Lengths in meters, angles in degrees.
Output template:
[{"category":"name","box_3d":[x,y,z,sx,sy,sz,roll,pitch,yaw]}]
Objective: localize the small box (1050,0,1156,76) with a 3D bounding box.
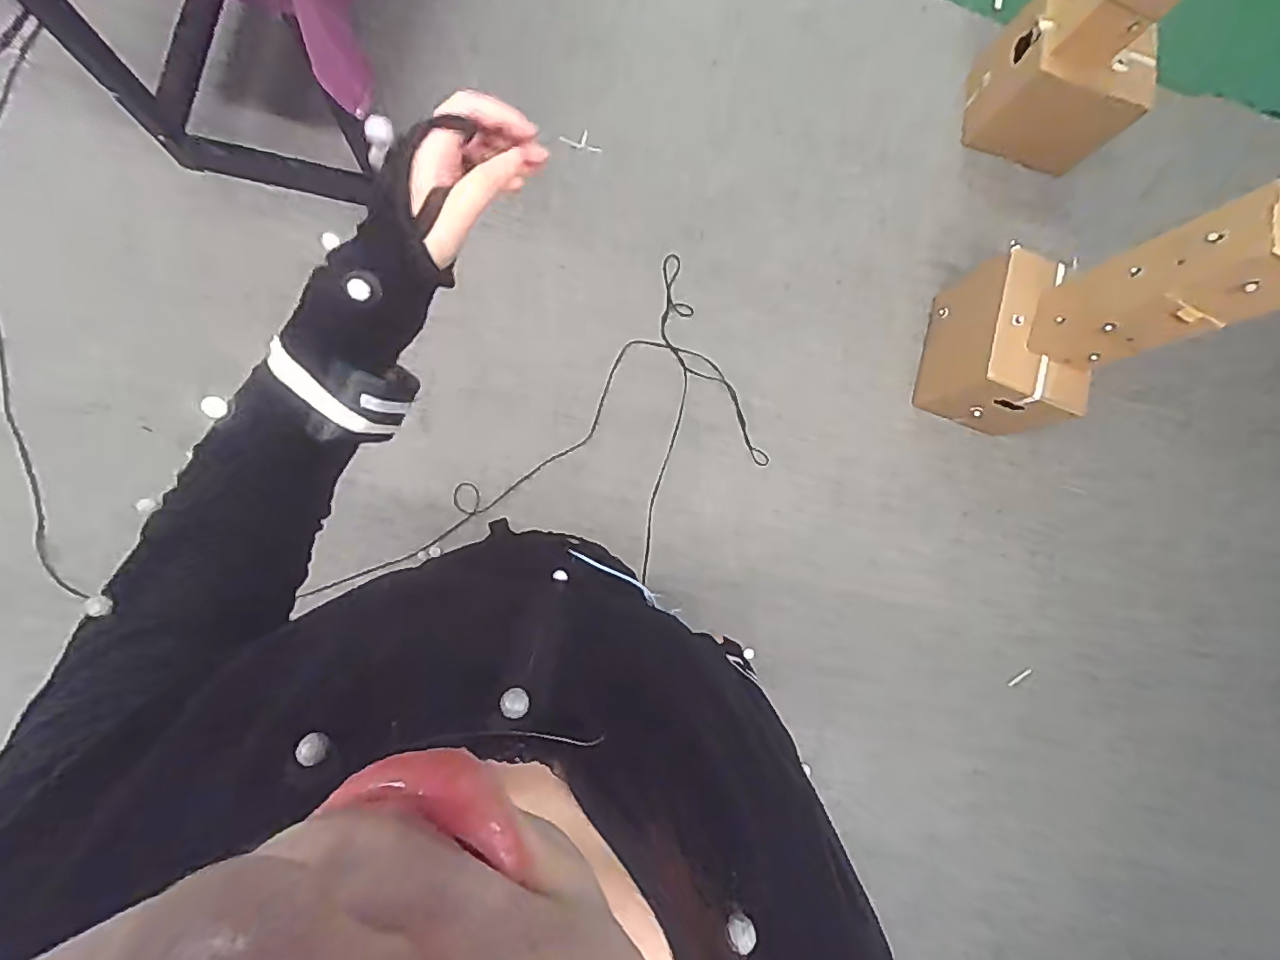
[{"category":"small box","box_3d":[1.321,-1.312,1.546,0.179,0.176,0.168,14,81,-9]}]

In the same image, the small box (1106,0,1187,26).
[{"category":"small box","box_3d":[1.346,-1.324,1.383,0.179,0.176,0.168,14,82,-9]}]

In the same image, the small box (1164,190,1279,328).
[{"category":"small box","box_3d":[1.222,-0.432,1.089,0.179,0.176,0.168,23,81,-8]}]

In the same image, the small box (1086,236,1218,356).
[{"category":"small box","box_3d":[1.186,-0.413,1.249,0.168,0.176,0.179,24,79,-9]}]

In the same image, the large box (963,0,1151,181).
[{"category":"large box","box_3d":[1.365,-1.276,1.799,0.408,0.320,0.320,12,81,-9]}]

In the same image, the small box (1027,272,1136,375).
[{"category":"small box","box_3d":[1.158,-0.397,1.410,0.168,0.176,0.179,22,80,-9]}]
